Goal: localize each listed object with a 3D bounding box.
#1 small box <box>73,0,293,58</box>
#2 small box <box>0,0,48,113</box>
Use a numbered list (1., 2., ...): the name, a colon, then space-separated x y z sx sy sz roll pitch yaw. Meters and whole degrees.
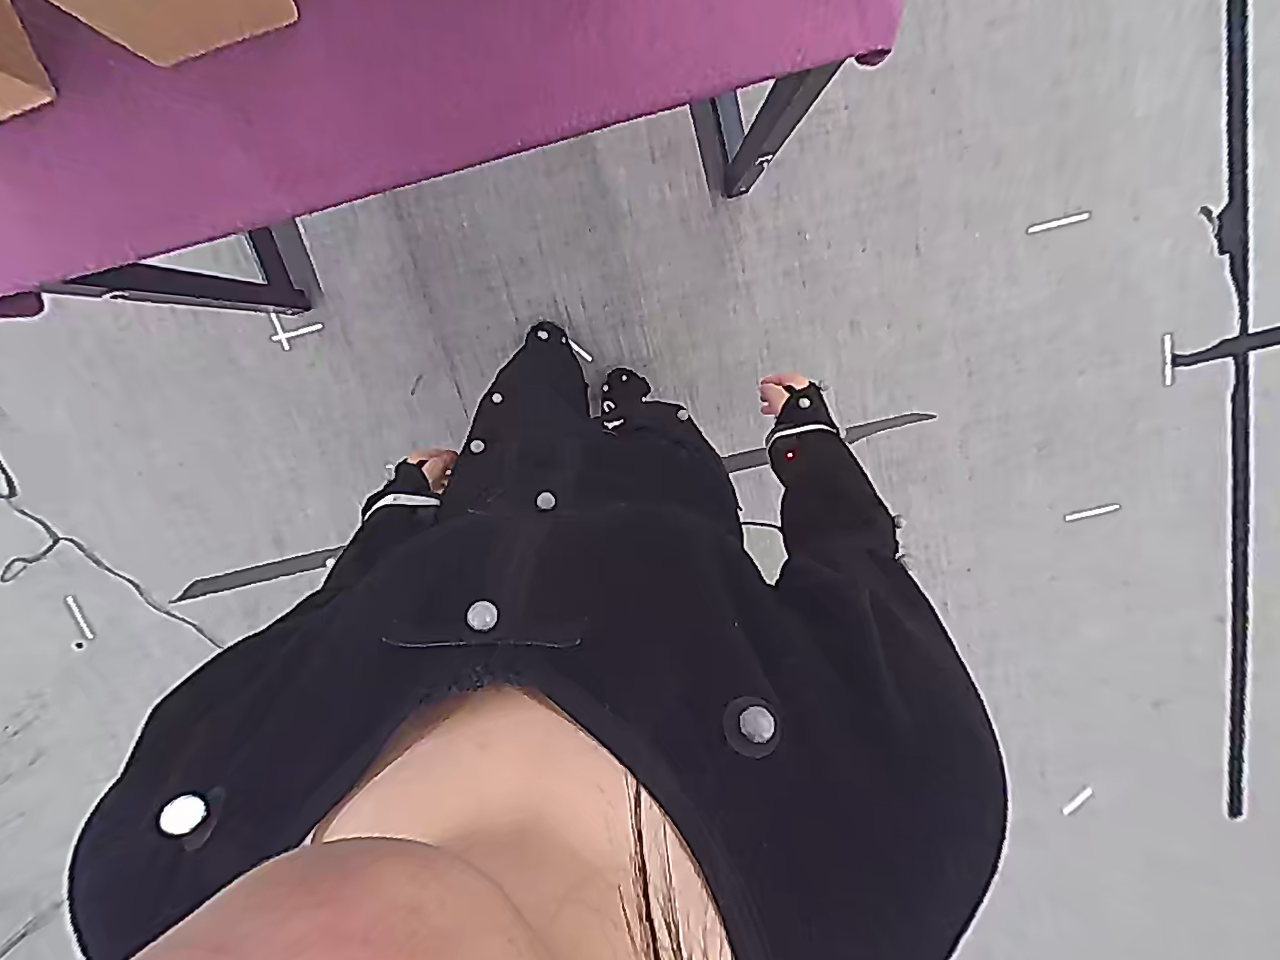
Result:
1. small box: -0.489 -0.555 0.519 0.179 0.176 0.168 -17 104 2
2. small box: -0.773 -0.478 0.533 0.168 0.176 0.179 -18 103 3
